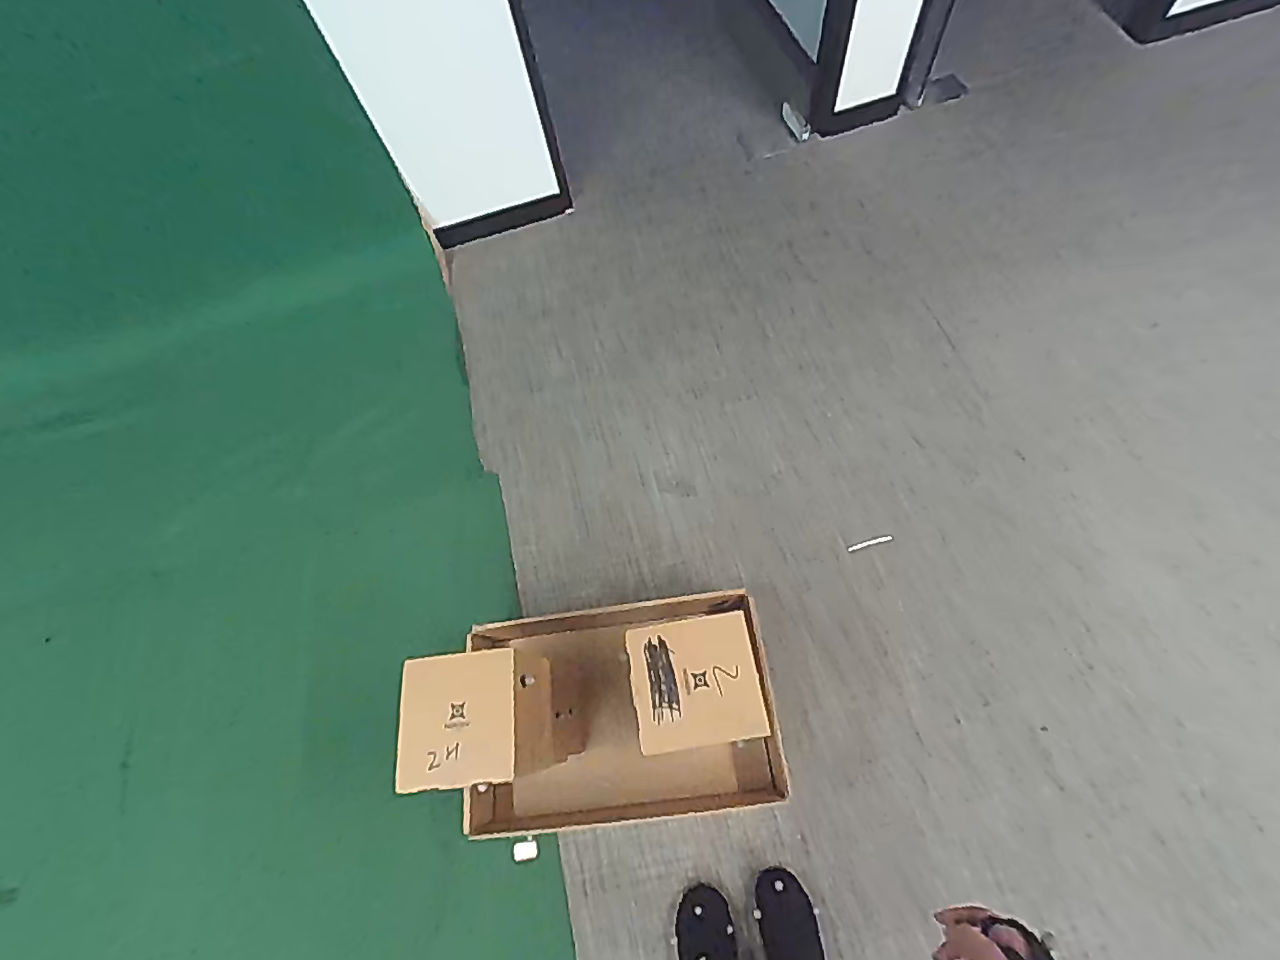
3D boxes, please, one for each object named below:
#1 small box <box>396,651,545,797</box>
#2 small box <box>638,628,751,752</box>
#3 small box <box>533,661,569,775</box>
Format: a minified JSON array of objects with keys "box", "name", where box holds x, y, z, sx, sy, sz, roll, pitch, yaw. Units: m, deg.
[{"box":[-0.245,0.367,0.824,0.168,0.176,0.179,-7,67,3],"name":"small box"},{"box":[0.094,0.374,0.961,0.168,0.176,0.179,-10,66,3],"name":"small box"},{"box":[-0.226,0.429,0.976,0.168,0.176,0.179,-5,67,3],"name":"small box"}]
